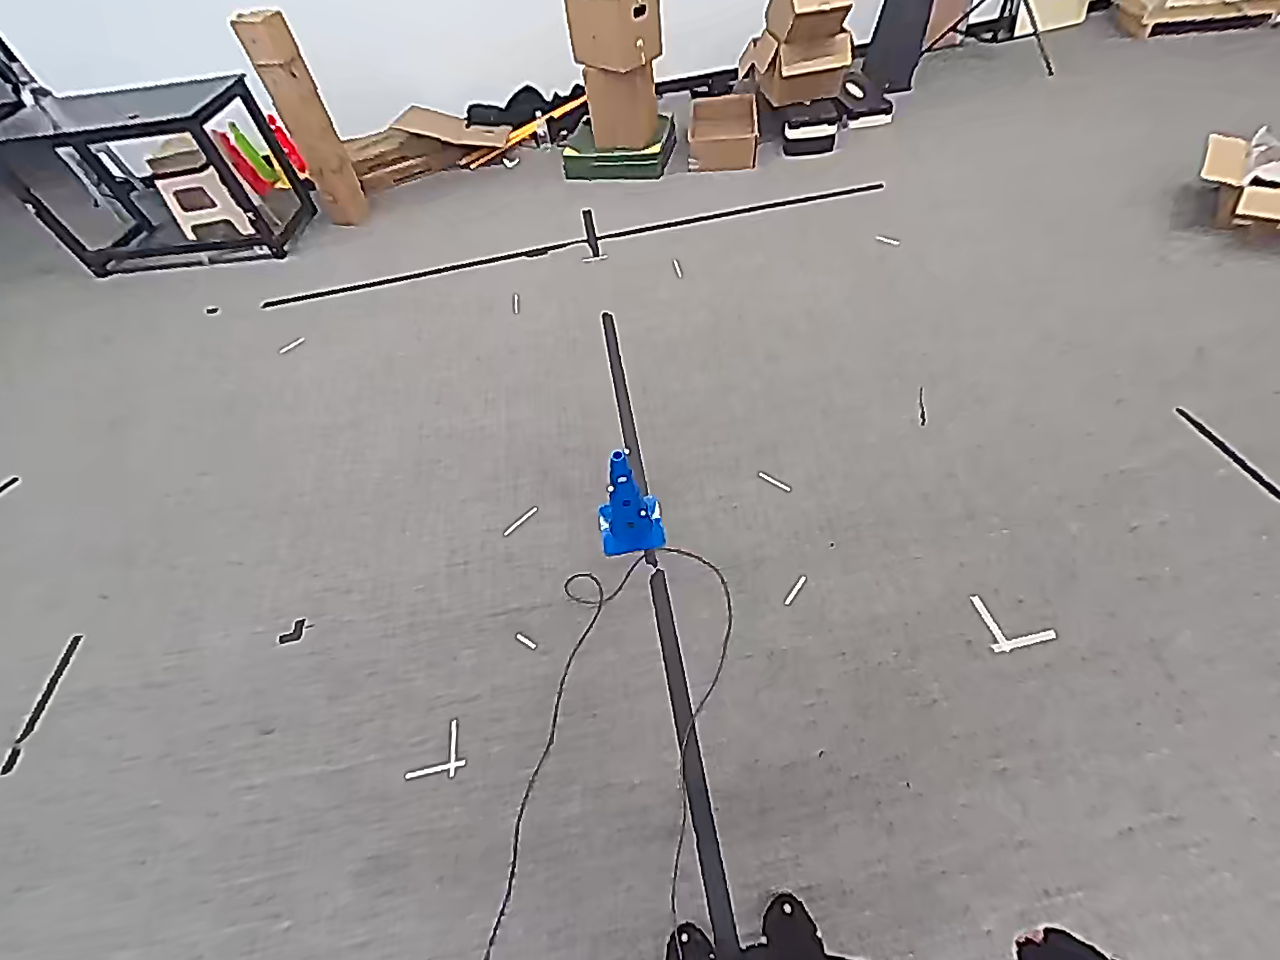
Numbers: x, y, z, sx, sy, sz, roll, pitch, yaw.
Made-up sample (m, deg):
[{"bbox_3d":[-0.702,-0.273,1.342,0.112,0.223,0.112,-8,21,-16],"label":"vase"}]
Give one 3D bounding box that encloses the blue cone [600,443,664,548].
[{"bbox_3d":[-0.044,0.031,1.605,0.193,0.380,0.192,-12,53,-1],"label":"blue cone"}]
